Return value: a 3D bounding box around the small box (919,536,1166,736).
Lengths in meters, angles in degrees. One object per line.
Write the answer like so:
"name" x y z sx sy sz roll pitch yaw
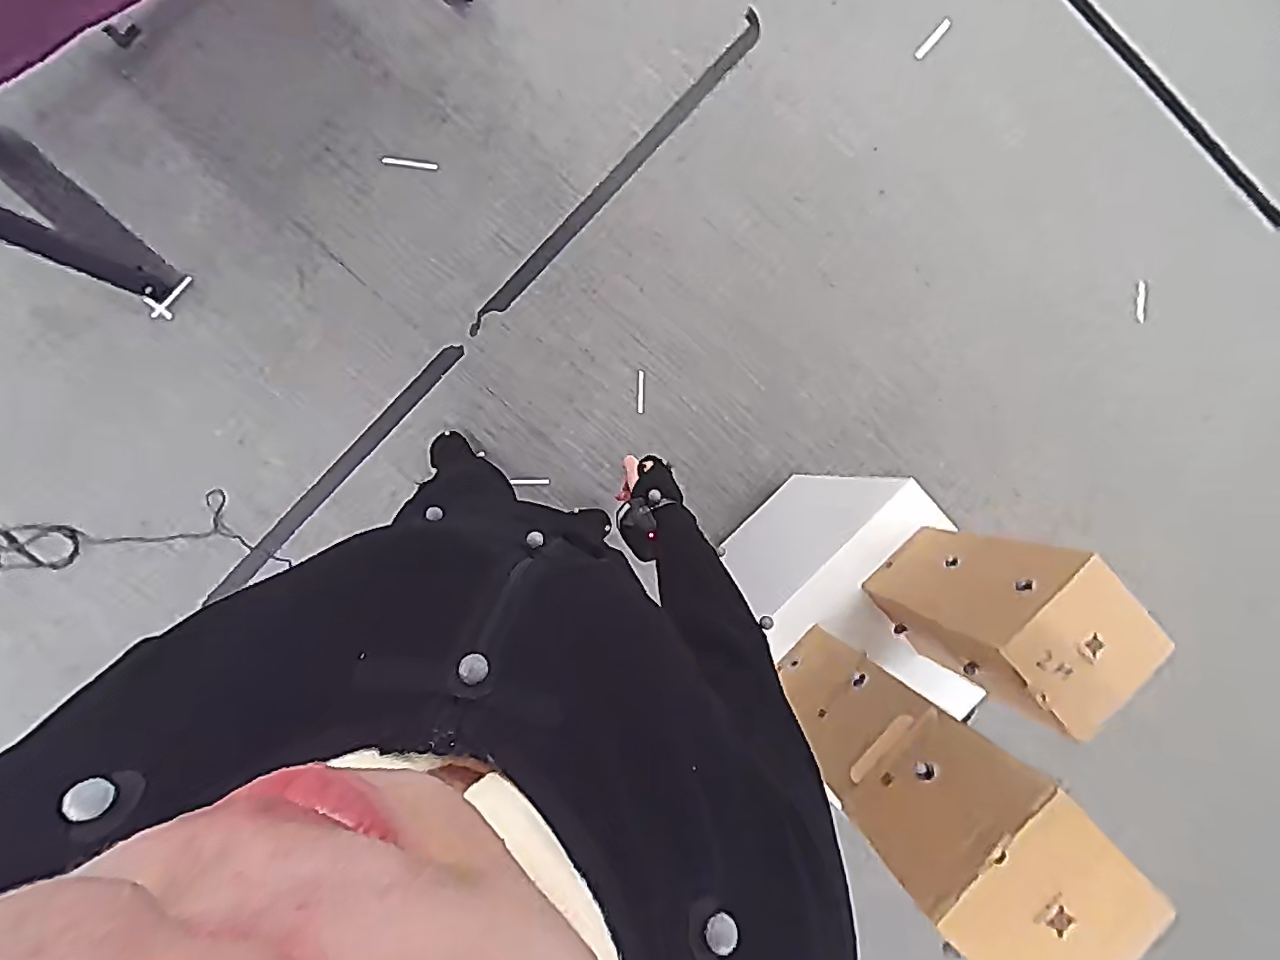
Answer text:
"small box" 0.532 0.196 0.739 0.179 0.176 0.168 -42 95 -3

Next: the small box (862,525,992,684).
"small box" 0.516 0.194 0.904 0.168 0.176 0.179 -42 96 -4

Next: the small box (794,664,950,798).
"small box" 0.341 0.374 0.725 0.168 0.176 0.179 -44 96 -3

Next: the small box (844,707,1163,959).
"small box" 0.356 0.378 0.564 0.168 0.176 0.179 -45 95 -3
